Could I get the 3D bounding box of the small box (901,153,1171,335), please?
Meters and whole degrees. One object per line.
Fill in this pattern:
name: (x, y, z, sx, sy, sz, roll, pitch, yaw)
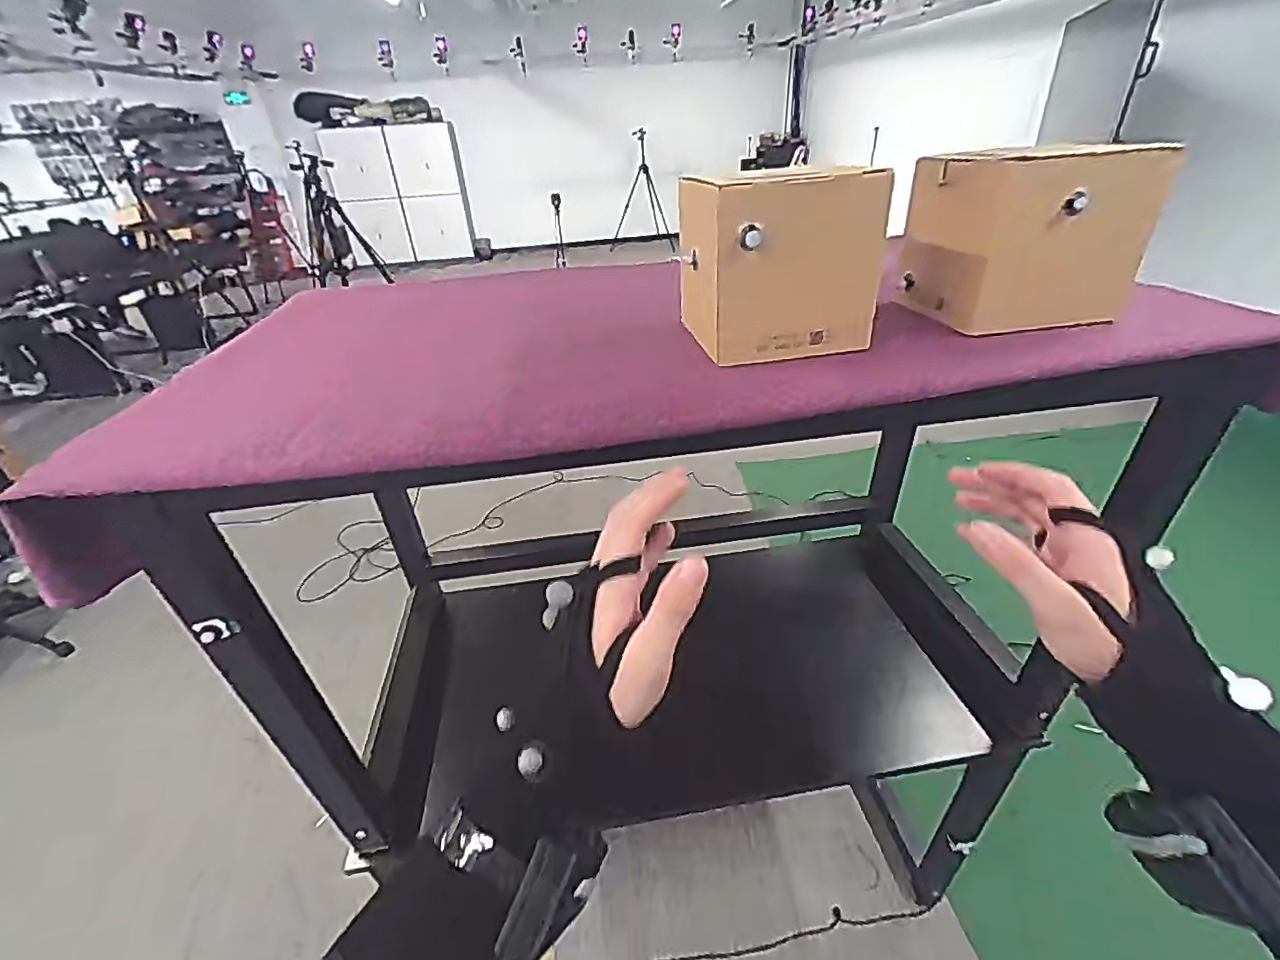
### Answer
small box: (0.426, -0.273, 0.624, 0.179, 0.176, 0.168, -6, 33, -5)
